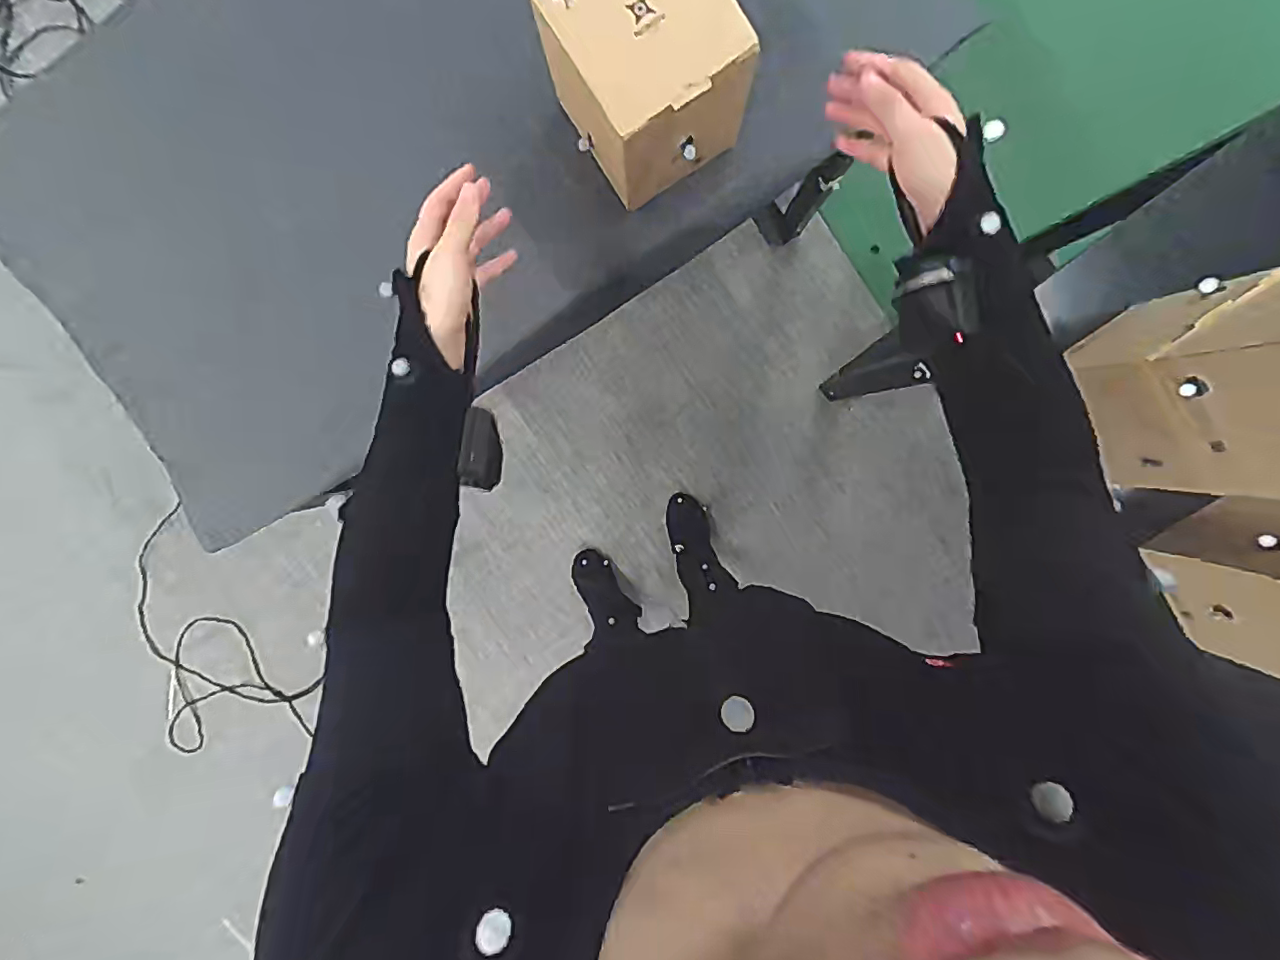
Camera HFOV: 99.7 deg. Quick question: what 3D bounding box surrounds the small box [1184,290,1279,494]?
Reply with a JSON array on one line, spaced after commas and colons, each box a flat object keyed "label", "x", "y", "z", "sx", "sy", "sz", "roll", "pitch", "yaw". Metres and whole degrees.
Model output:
[{"label": "small box", "x": 0.635, "y": -0.090, "z": 0.460, "sx": 0.179, "sy": 0.176, "sz": 0.168, "roll": -33, "pitch": 94, "yaw": 3}]

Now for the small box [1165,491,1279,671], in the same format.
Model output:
[{"label": "small box", "x": 0.789, "y": 0.121, "z": 0.638, "sx": 0.179, "sy": 0.176, "sz": 0.168, "roll": -32, "pitch": 94, "yaw": 3}]

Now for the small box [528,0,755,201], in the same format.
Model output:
[{"label": "small box", "x": 0.006, "y": -0.451, "z": 0.610, "sx": 0.168, "sy": 0.176, "sz": 0.179, "roll": -33, "pitch": 92, "yaw": 4}]
